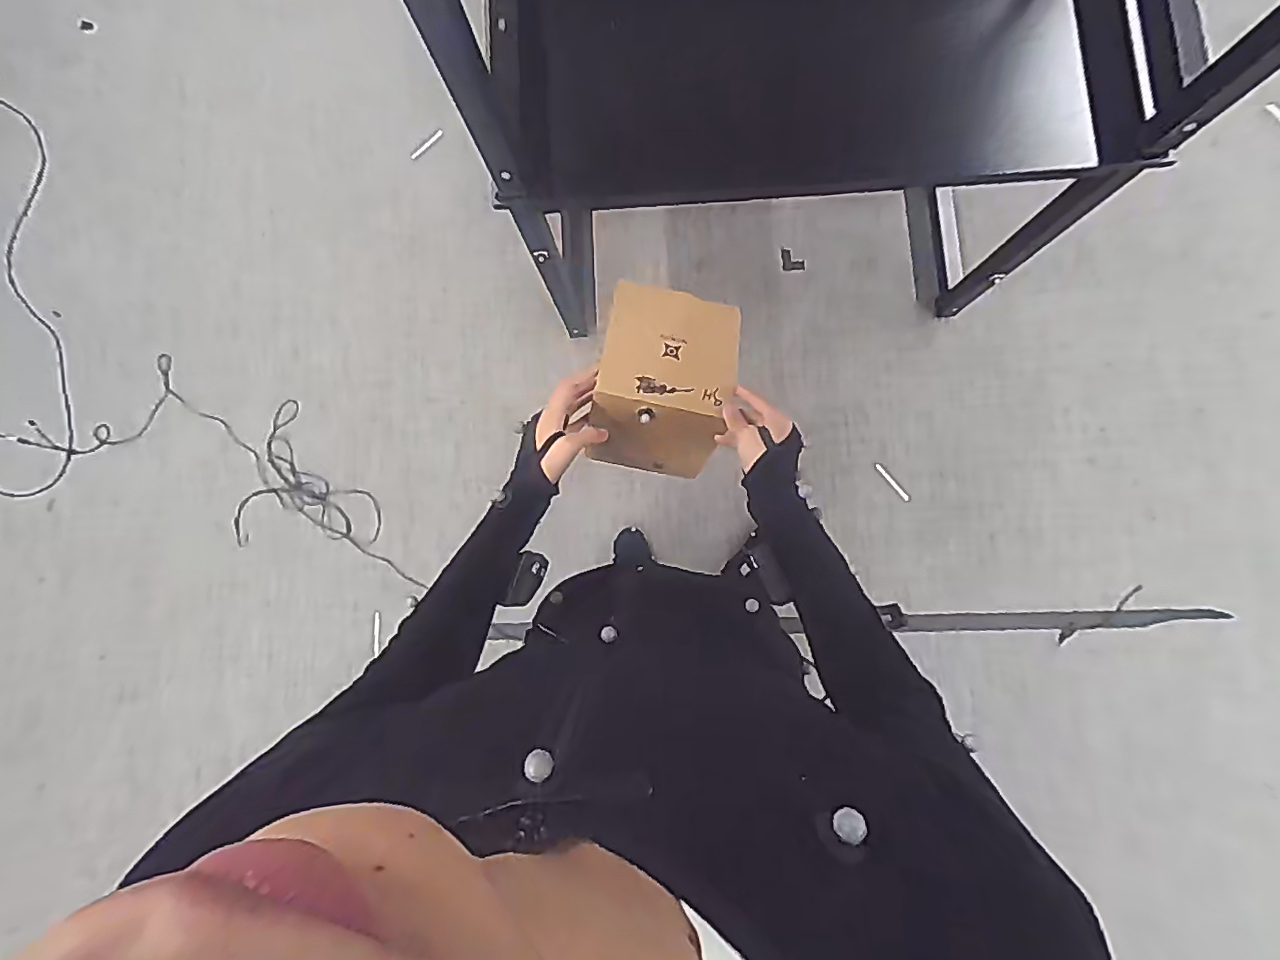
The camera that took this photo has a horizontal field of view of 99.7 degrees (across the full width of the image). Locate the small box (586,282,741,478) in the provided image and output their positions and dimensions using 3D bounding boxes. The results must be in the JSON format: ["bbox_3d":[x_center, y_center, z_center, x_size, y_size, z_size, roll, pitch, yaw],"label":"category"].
[{"bbox_3d":[0.026,-0.126,0.726,0.168,0.176,0.179,11,64,-5],"label":"small box"}]
